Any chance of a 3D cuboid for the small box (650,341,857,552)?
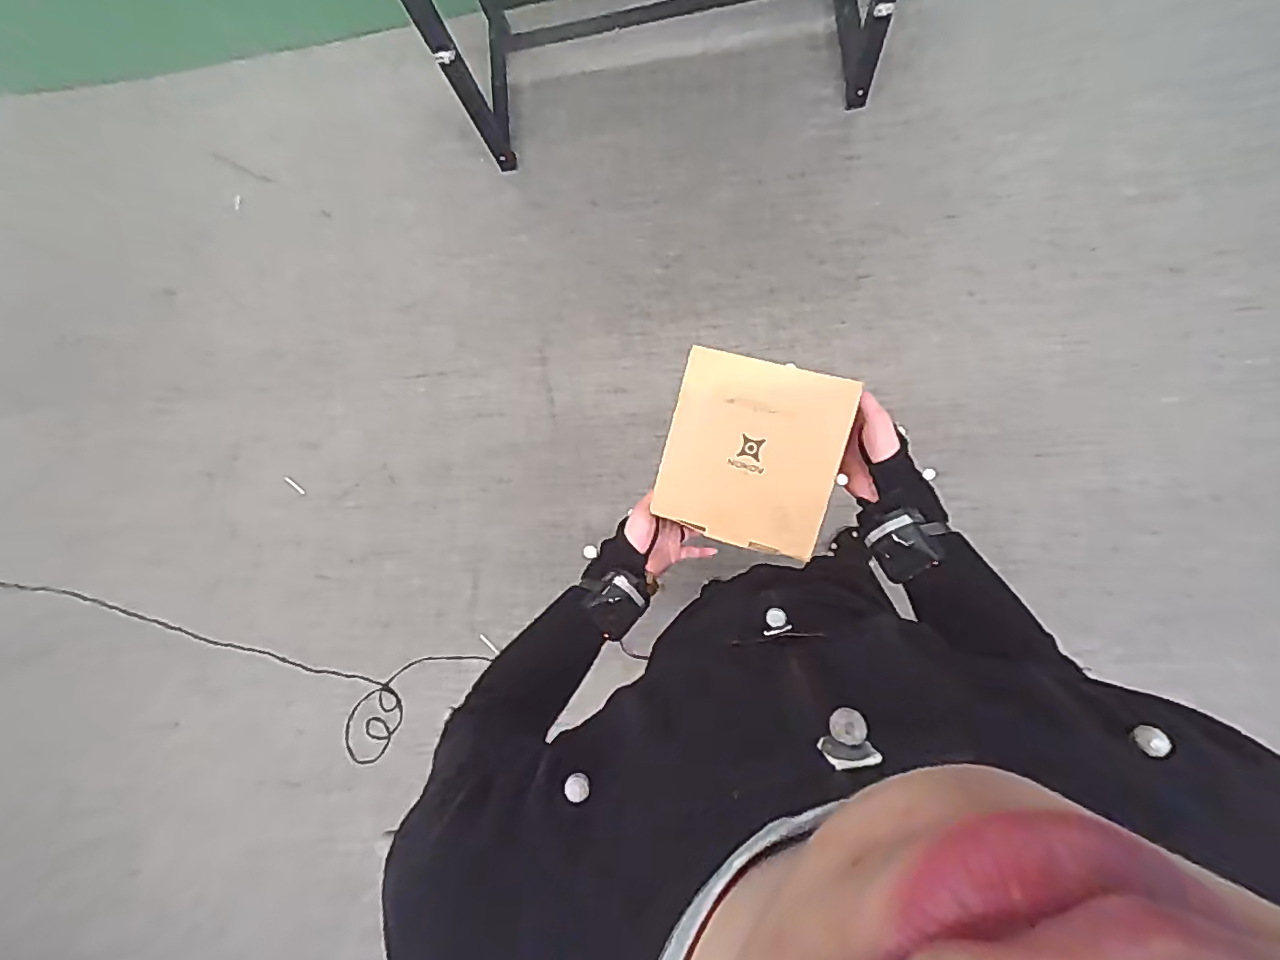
[{"bbox_3d":[0.125,-0.039,0.603,0.168,0.176,0.179,15,97,12],"label":"small box"}]
